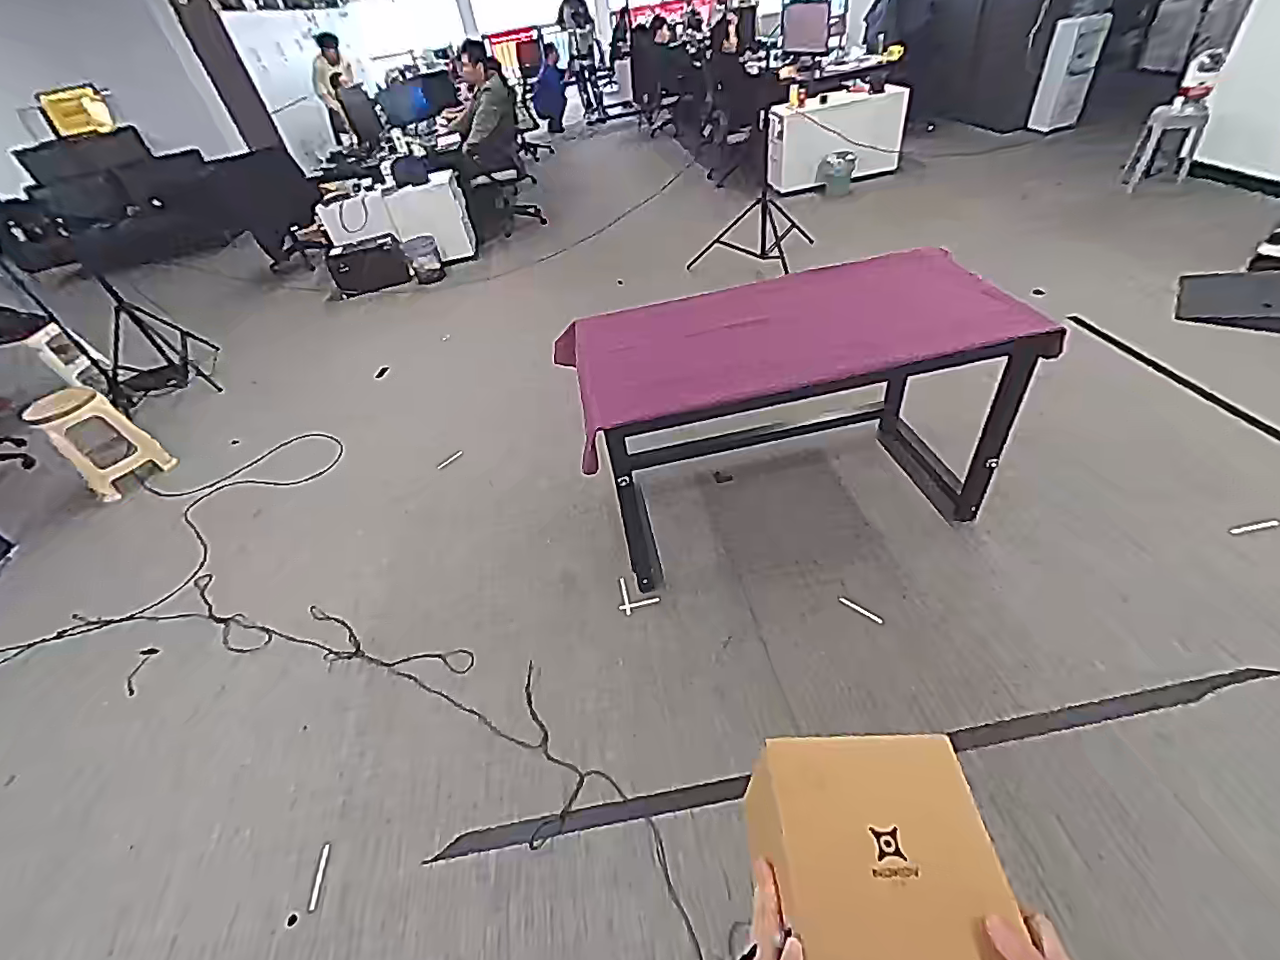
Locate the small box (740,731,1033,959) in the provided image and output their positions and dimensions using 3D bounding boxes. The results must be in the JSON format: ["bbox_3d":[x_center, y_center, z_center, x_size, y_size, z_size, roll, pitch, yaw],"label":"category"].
[{"bbox_3d":[0.190,0.345,0.479,0.168,0.176,0.179,-1,44,-1],"label":"small box"}]
